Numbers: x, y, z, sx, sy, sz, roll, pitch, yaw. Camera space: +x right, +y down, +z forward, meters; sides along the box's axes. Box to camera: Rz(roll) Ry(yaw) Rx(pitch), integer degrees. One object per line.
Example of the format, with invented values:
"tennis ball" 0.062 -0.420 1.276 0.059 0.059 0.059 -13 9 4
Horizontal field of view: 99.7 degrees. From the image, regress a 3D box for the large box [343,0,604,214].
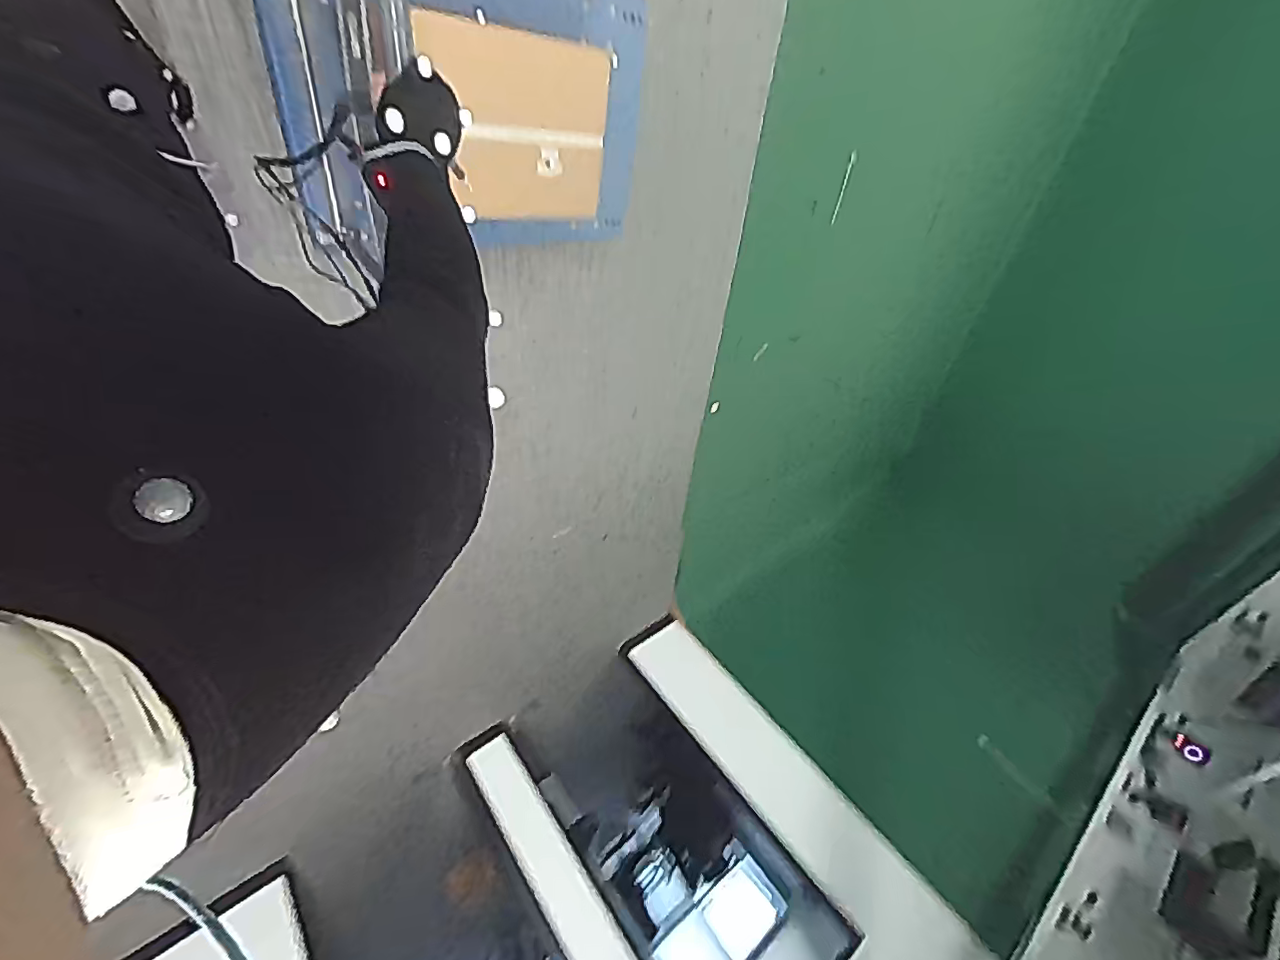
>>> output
"large box" -0.338 -0.767 1.132 0.408 0.320 0.320 -20 138 -35
